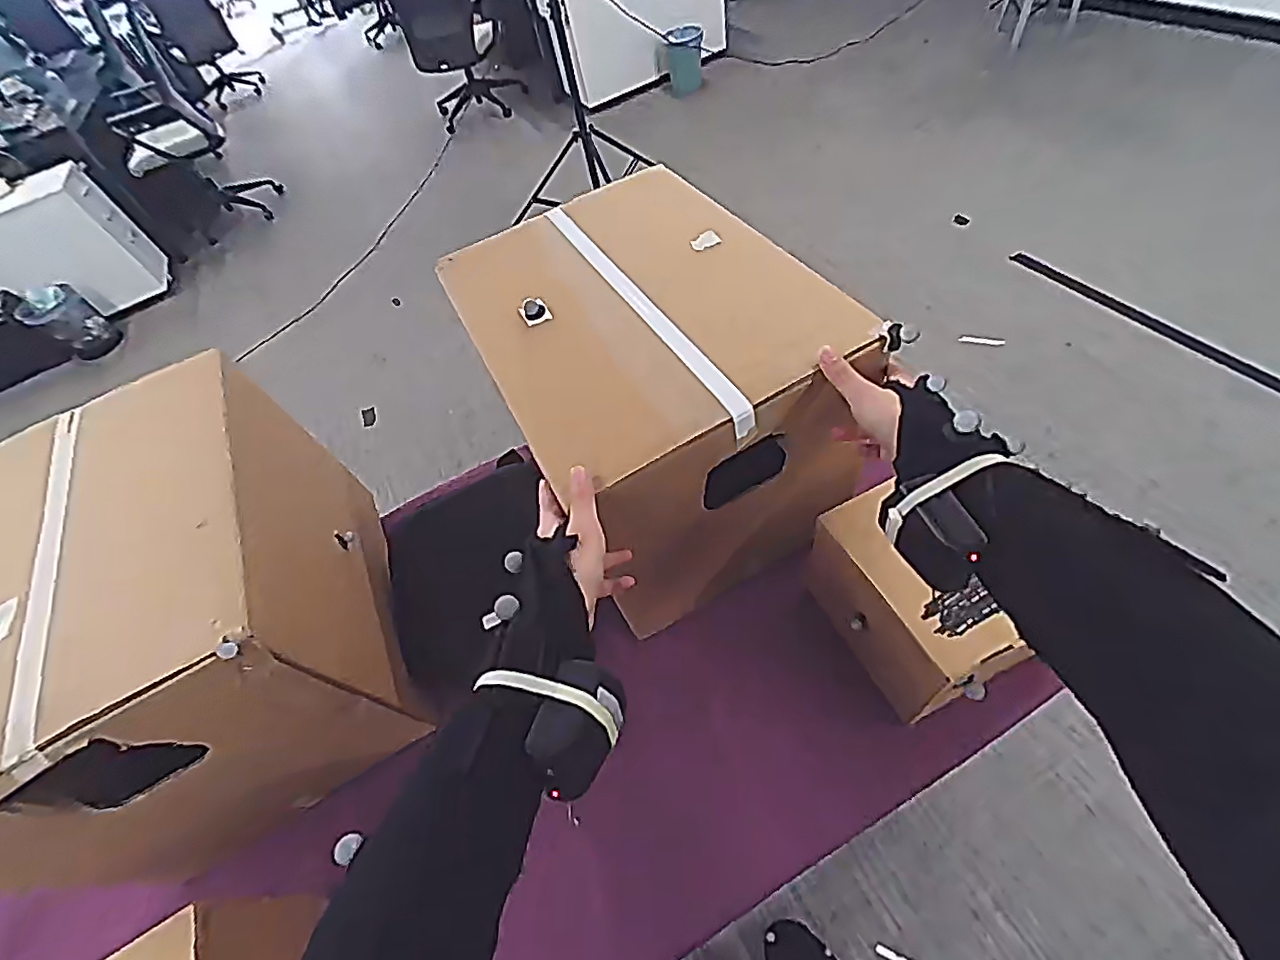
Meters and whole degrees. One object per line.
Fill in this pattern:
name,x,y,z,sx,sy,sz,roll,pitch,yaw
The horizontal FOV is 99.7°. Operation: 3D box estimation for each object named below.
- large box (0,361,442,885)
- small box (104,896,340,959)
large box,-0.483,0.149,0.609,0.320,0.320,0.408,-31,57,-9
small box,-0.369,0.477,0.433,0.179,0.176,0.168,-31,53,-11
